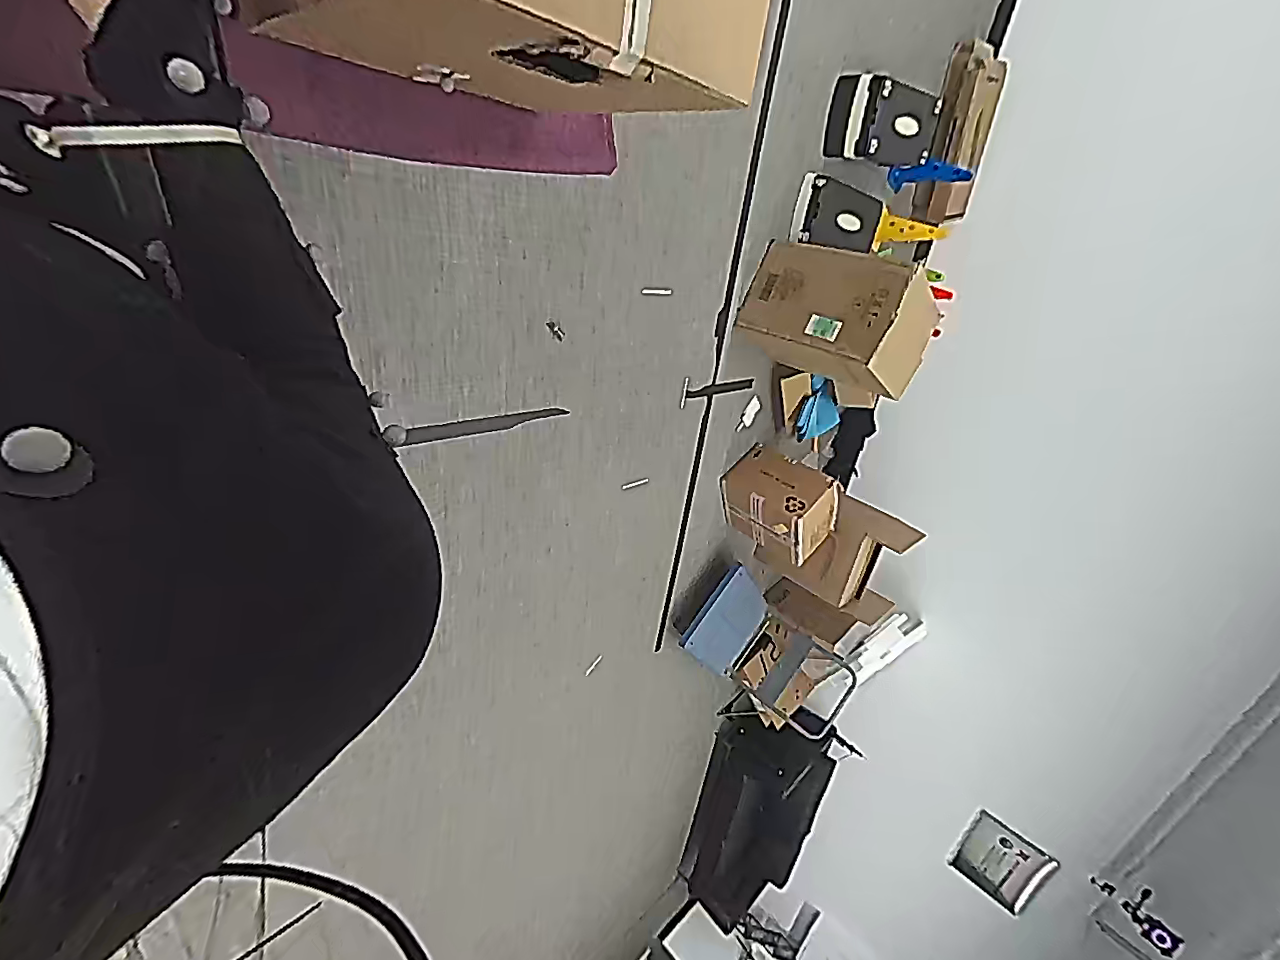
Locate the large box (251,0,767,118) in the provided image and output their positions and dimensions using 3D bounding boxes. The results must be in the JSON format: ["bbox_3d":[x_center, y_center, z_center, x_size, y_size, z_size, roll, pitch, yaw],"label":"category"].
[{"bbox_3d":[-0.093,-0.522,0.381,0.320,0.320,0.408,-19,126,-43],"label":"large box"}]
